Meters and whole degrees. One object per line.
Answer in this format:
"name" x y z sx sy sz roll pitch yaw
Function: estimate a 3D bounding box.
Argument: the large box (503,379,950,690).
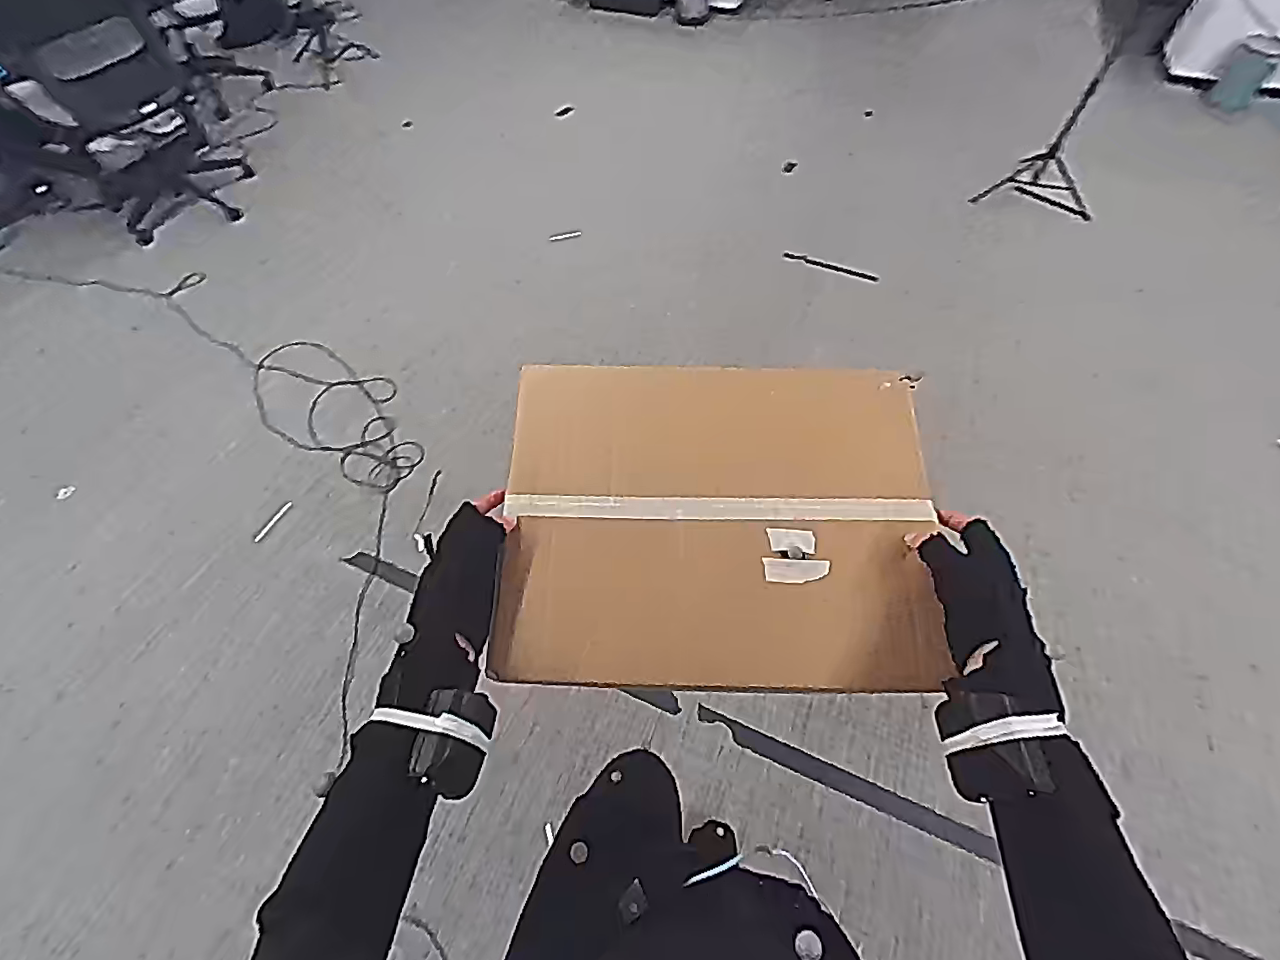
"large box" 0.075 0.089 0.666 0.408 0.320 0.320 0 69 1
